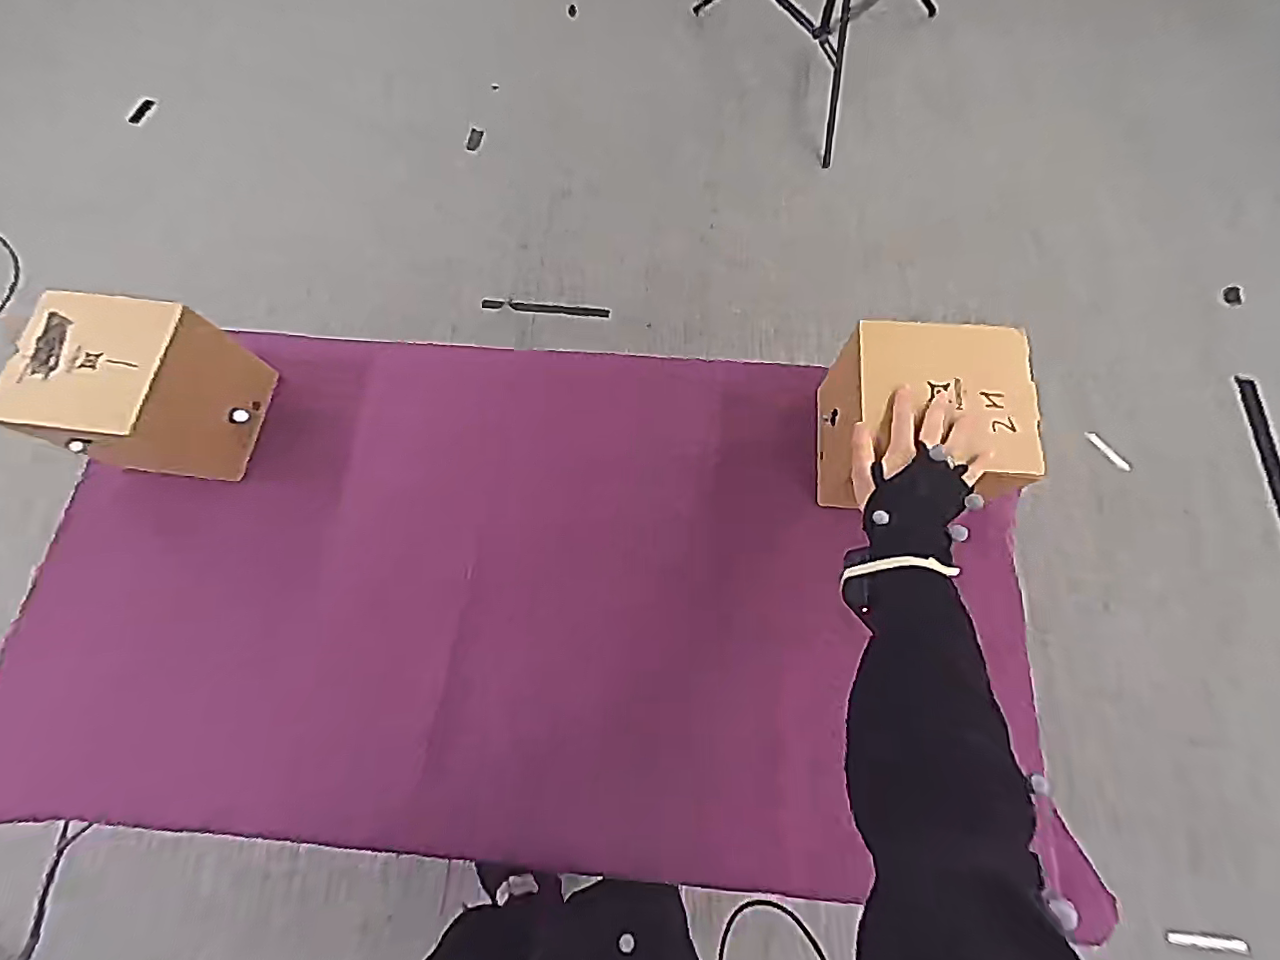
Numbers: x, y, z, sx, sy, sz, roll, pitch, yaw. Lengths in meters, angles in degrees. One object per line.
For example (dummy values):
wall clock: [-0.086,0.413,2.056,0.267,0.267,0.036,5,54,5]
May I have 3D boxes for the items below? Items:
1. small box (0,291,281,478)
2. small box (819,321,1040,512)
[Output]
small box: [-0.605,-0.109,0.674,0.179,0.176,0.168,7,73,3]
small box: [0.315,-0.064,0.630,0.179,0.176,0.168,5,74,4]
